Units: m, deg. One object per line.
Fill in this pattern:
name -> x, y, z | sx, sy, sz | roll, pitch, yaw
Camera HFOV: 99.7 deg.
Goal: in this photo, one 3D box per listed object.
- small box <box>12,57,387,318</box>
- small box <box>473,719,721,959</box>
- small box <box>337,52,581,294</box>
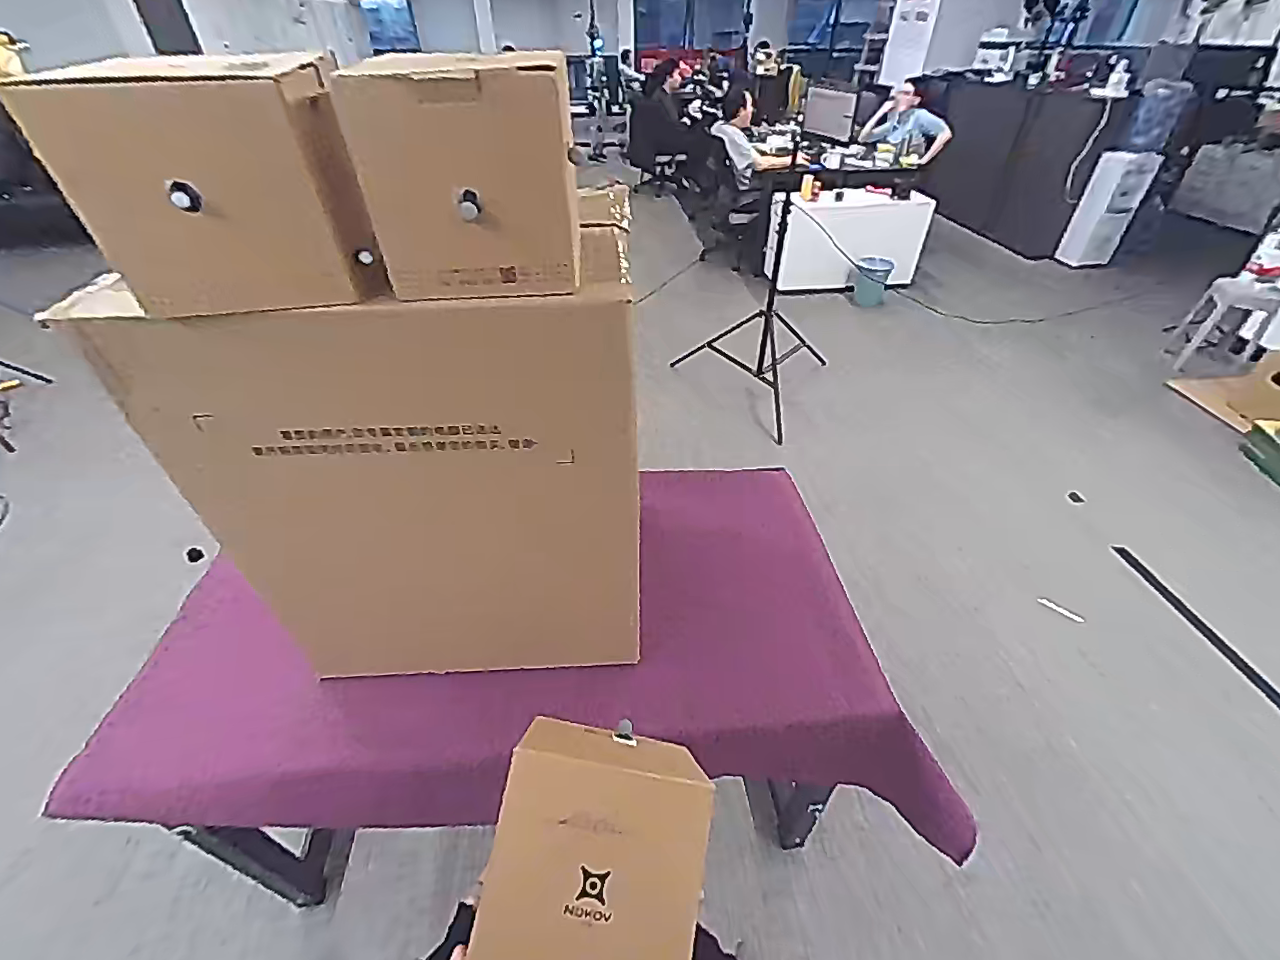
small box -> -0.347, -0.261, 0.481 | 0.179, 0.176, 0.168 | -8, 42, -7
small box -> -0.036, 0.333, 0.489 | 0.168, 0.176, 0.179 | 12, 72, -2
small box -> -0.143, -0.284, 0.506 | 0.168, 0.176, 0.179 | -3, 42, -4
